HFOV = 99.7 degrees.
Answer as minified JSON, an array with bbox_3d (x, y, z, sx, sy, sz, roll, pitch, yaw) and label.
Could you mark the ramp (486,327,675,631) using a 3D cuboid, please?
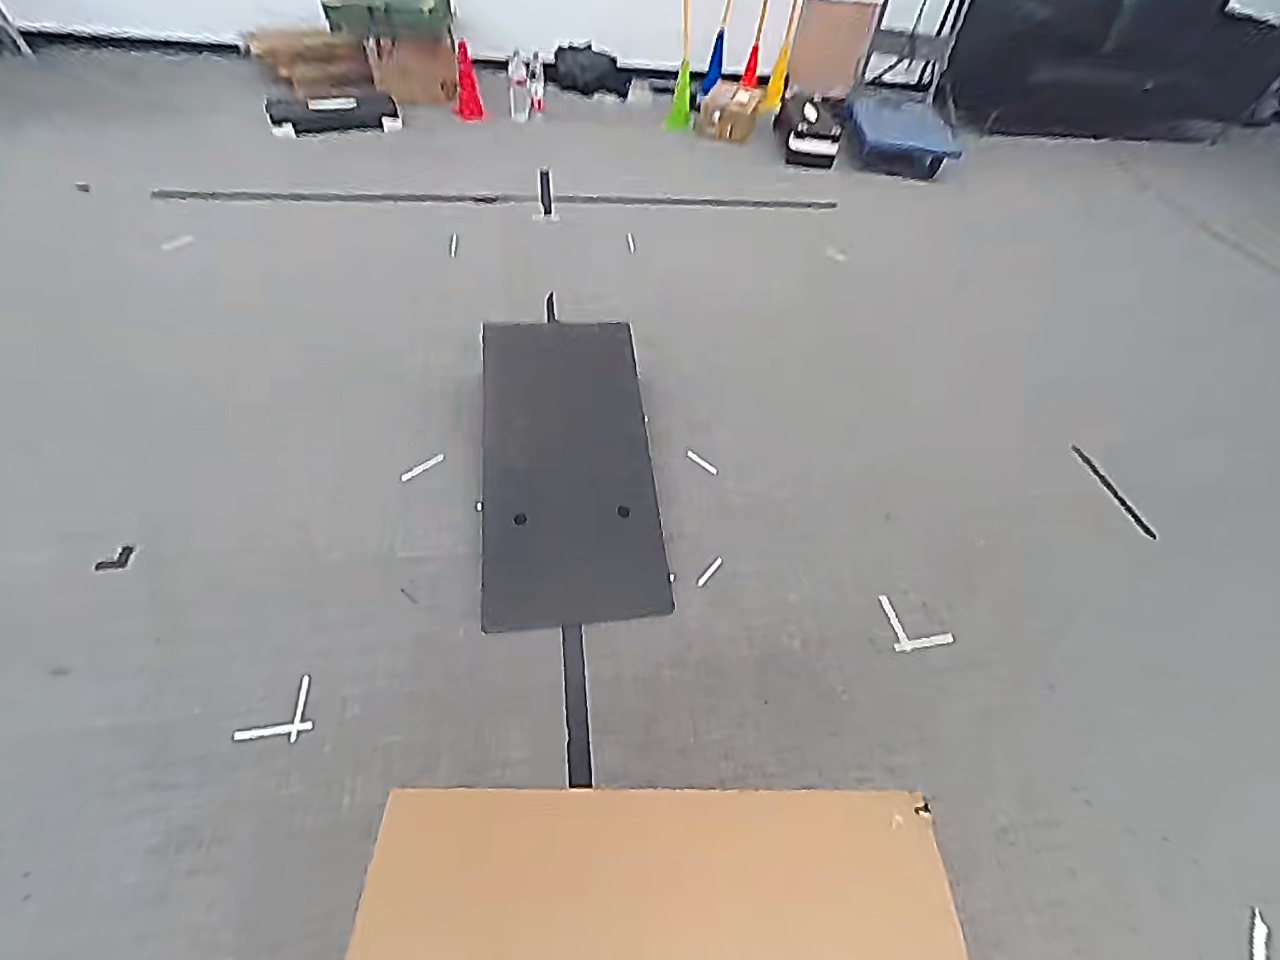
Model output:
[{"bbox_3d":[-0.206,-0.074,1.610,0.509,0.206,0.991,-4,53,-11],"label":"ramp"}]
